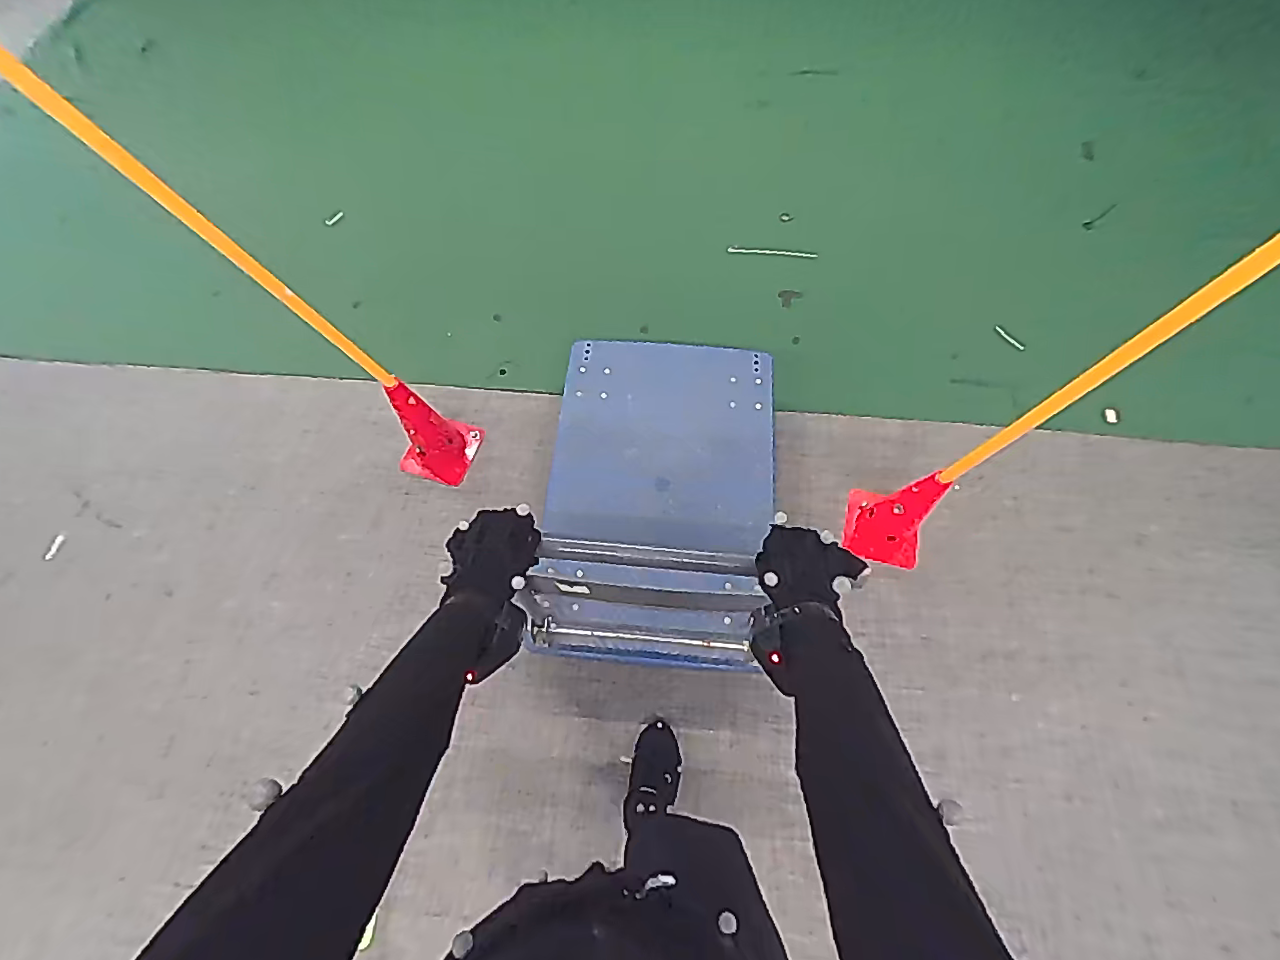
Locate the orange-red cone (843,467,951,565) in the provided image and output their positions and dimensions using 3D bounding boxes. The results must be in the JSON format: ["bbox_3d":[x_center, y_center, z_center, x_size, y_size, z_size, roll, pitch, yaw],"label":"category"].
[{"bbox_3d":[0.668,0.057,1.339,0.198,0.360,0.199,15,69,8],"label":"orange-red cone"}]
